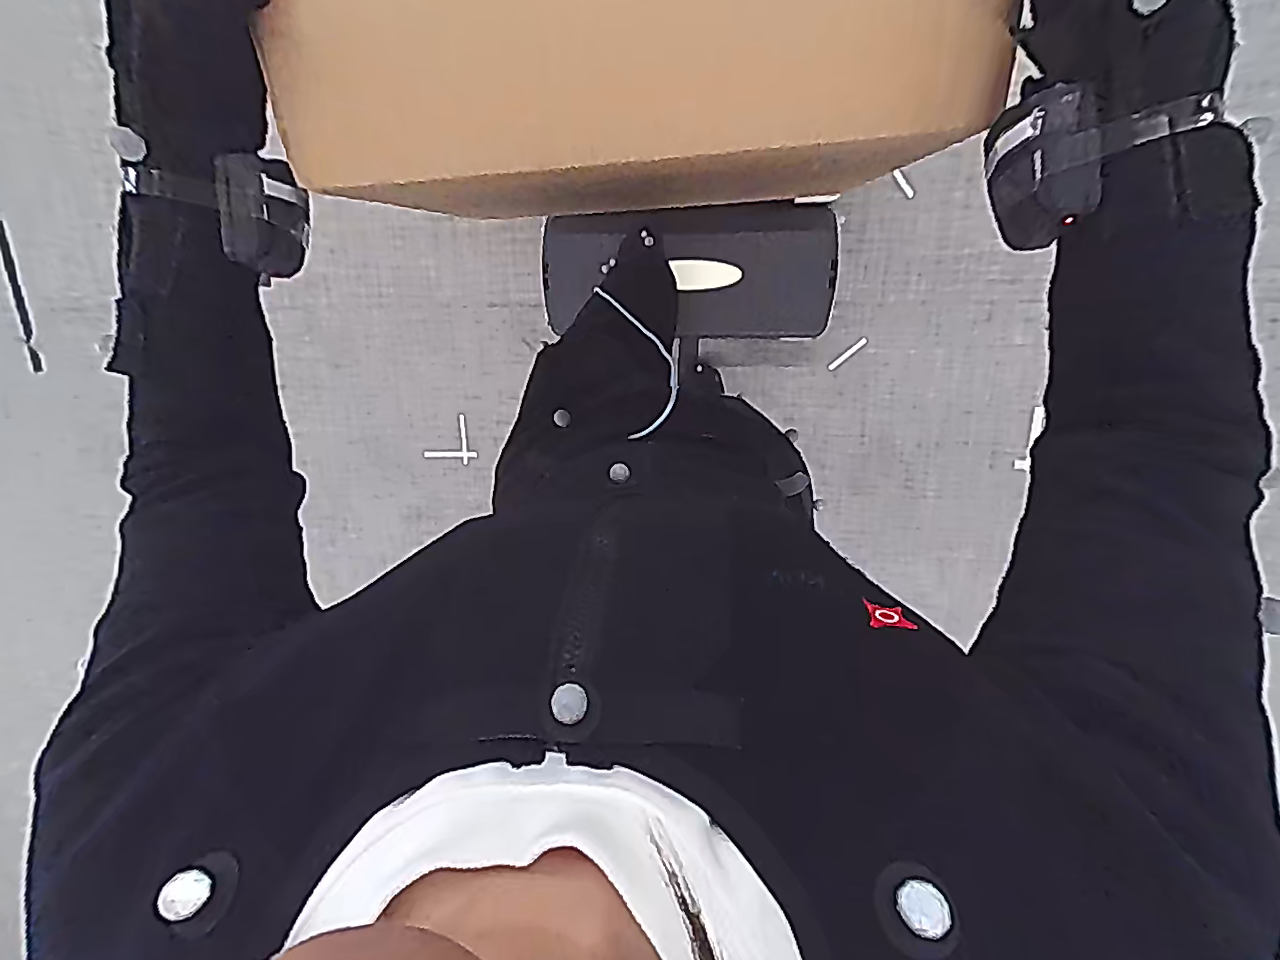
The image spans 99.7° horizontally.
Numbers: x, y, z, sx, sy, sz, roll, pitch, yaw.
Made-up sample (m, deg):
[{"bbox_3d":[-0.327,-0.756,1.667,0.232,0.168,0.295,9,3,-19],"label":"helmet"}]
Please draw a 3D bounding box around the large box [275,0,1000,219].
[{"bbox_3d":[-0.005,-0.393,0.404,0.408,0.320,0.320,-2,113,6],"label":"large box"}]
